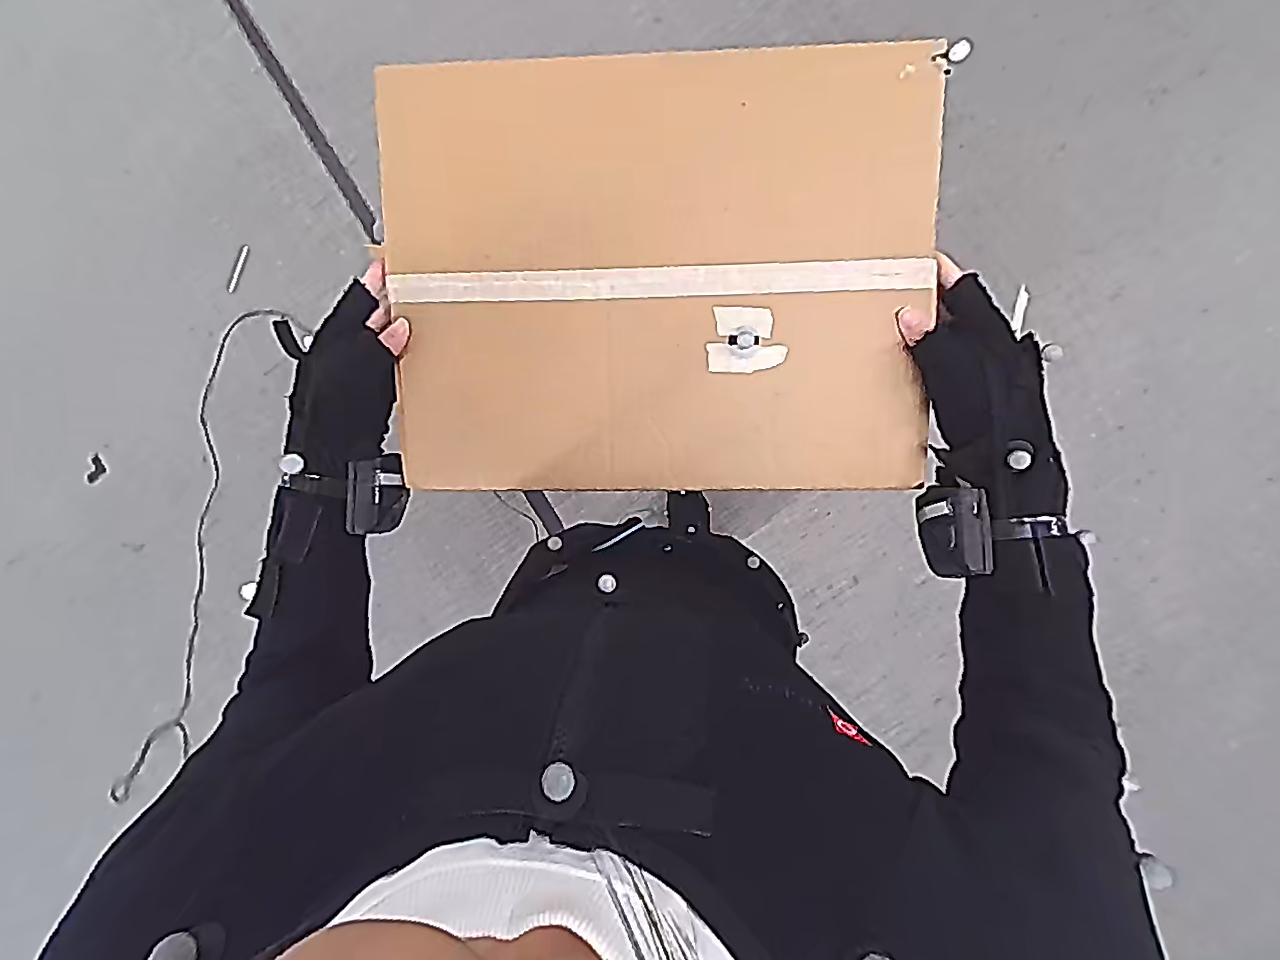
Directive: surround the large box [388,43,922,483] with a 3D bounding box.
[{"bbox_3d":[0.016,-0.175,0.564,0.408,0.320,0.320,-1,98,2],"label":"large box"}]
